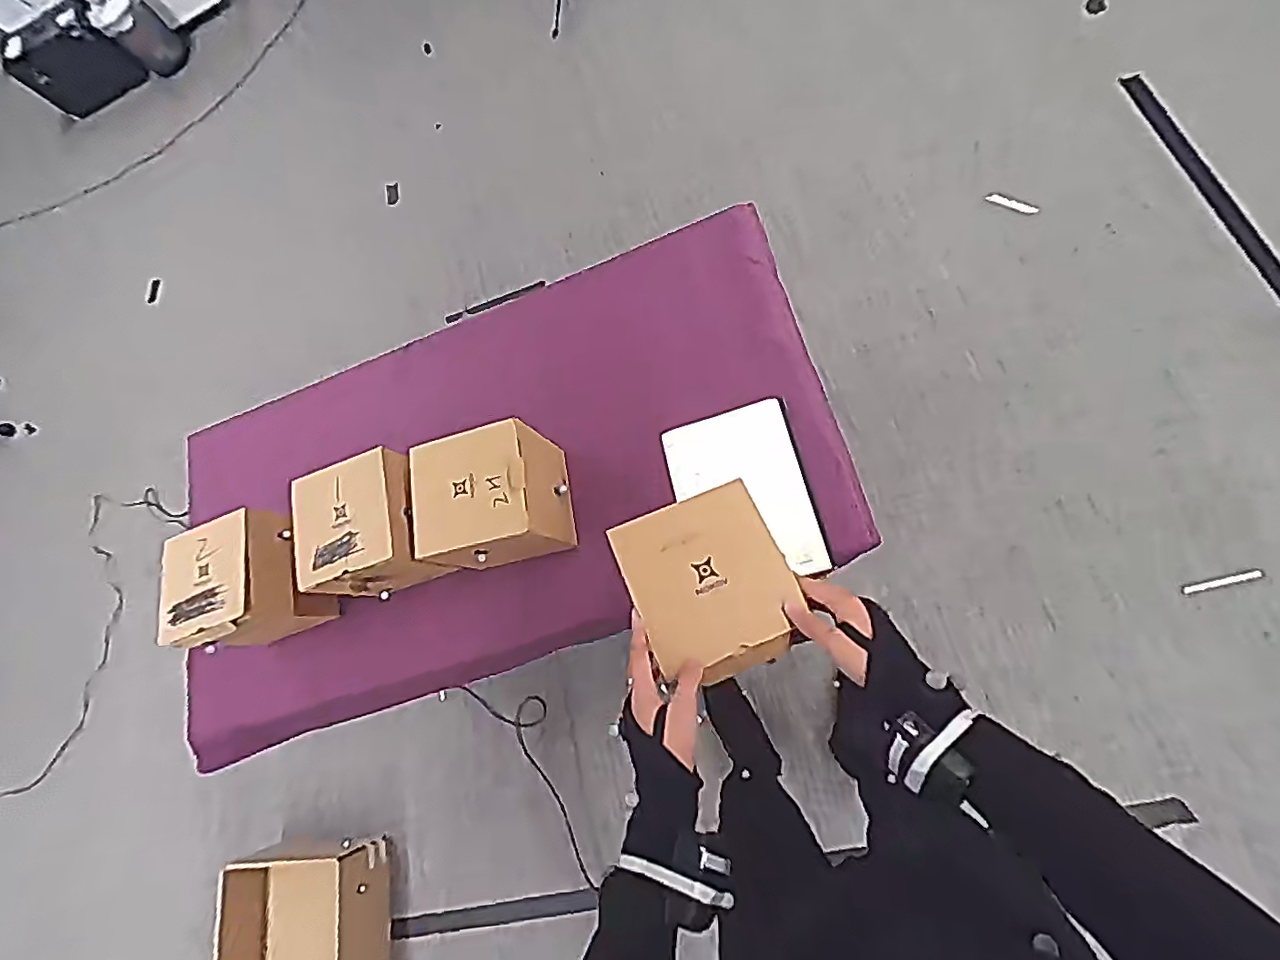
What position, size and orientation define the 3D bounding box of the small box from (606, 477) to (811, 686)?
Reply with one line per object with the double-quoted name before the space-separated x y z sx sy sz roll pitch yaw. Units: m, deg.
"small box" 0.074 0.129 0.633 0.168 0.176 0.179 -21 64 -5
